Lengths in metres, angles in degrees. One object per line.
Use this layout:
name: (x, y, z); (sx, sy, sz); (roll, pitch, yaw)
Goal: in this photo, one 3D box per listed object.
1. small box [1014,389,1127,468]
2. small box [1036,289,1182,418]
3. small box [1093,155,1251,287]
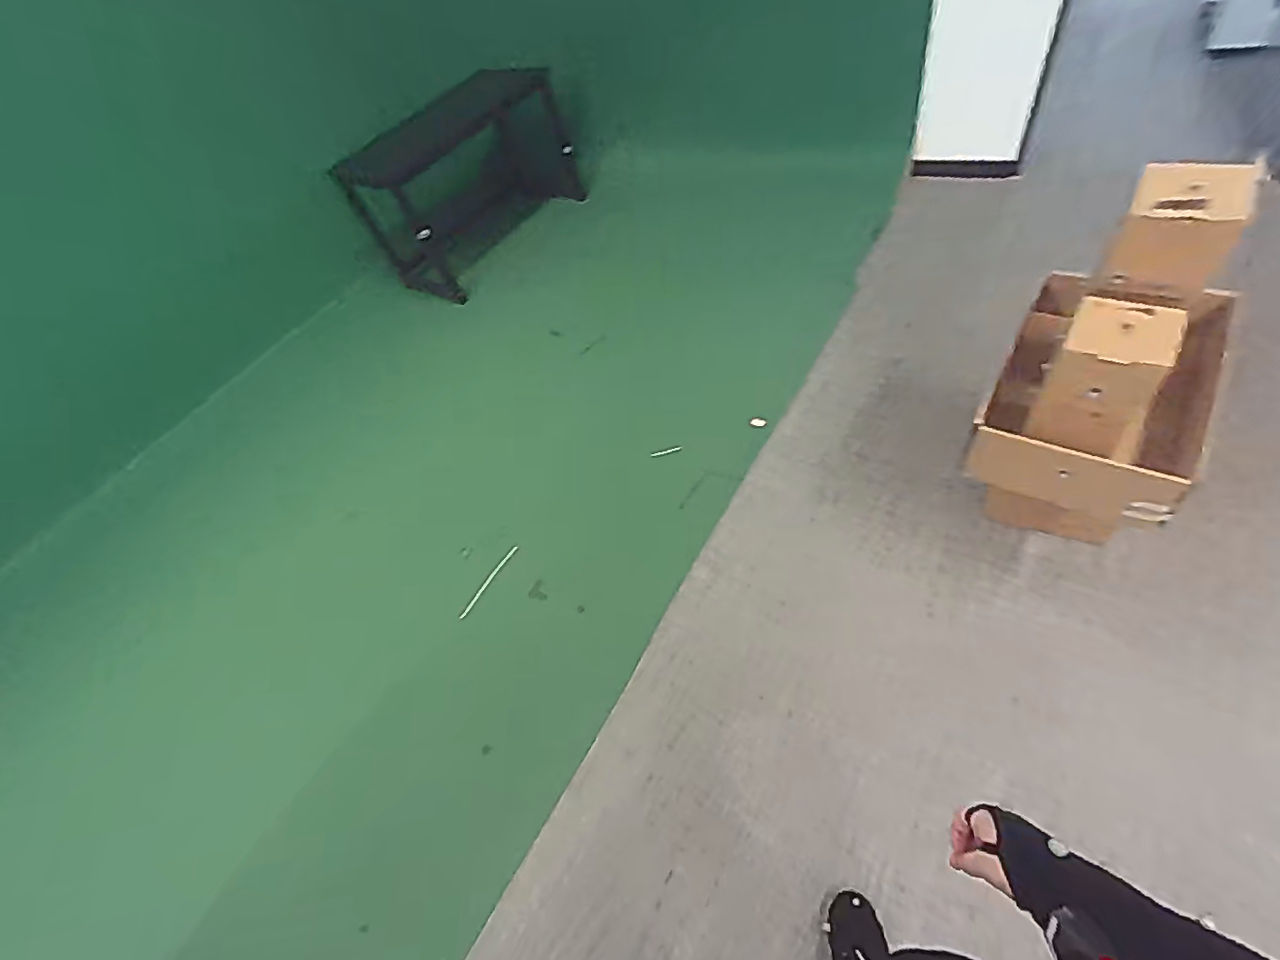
small box: (0.982, -0.159, 1.227); (0.168, 0.176, 0.179); (23, 63, 31)
small box: (0.942, -0.255, 1.101); (0.168, 0.176, 0.179); (24, 65, 30)
small box: (1.026, -0.503, 1.056); (0.168, 0.176, 0.179); (20, 65, 29)
